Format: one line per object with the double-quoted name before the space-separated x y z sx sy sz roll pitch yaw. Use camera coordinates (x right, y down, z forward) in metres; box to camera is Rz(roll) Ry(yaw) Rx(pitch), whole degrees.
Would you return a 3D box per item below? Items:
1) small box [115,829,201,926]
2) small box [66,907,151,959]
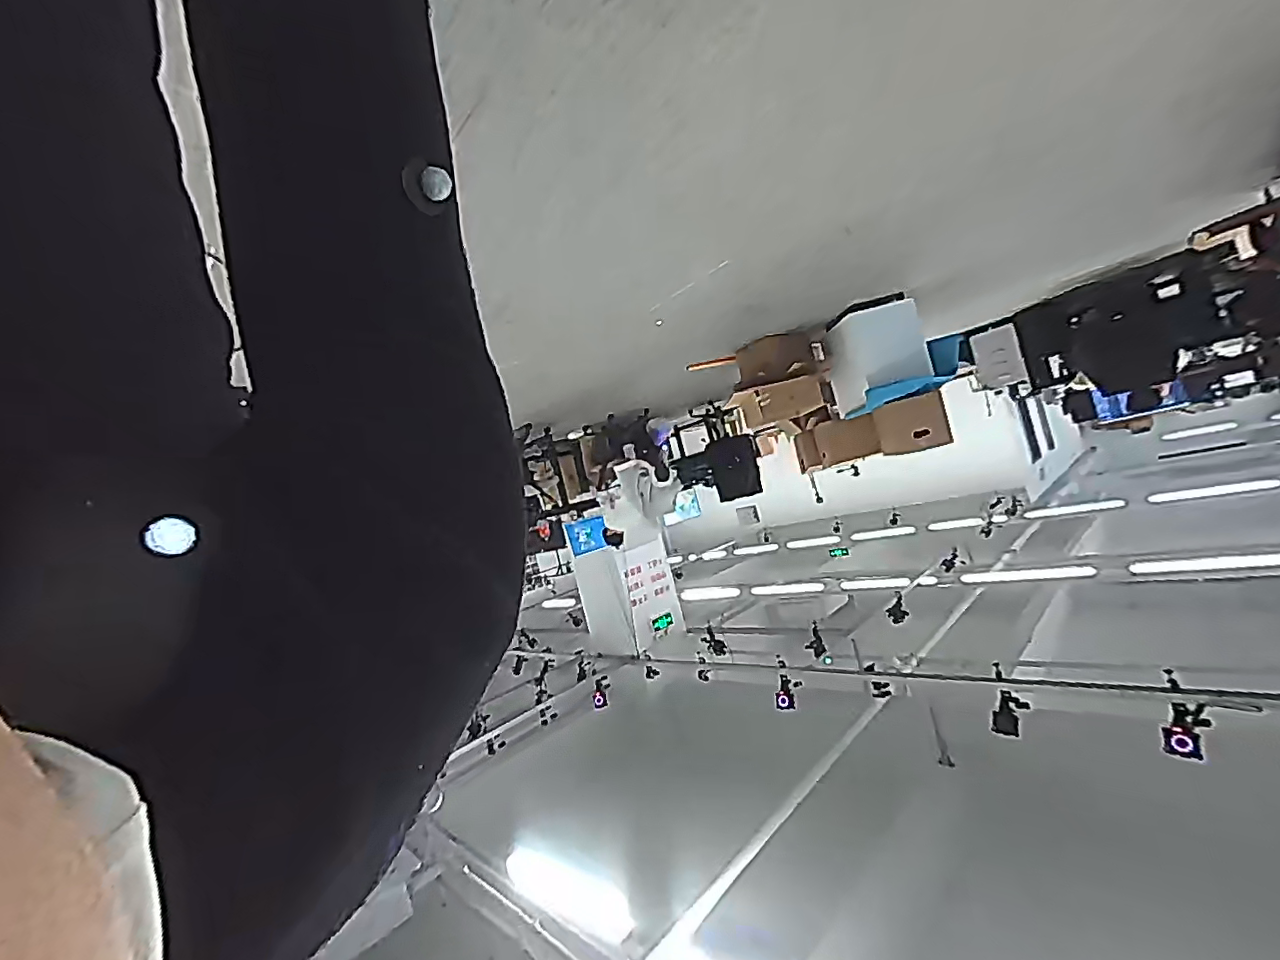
"small box" -1.548 1.260 1.737 0.179 0.176 0.168 -13 178 -43
"small box" -1.617 1.444 1.644 0.168 0.176 0.179 -13 178 -43
